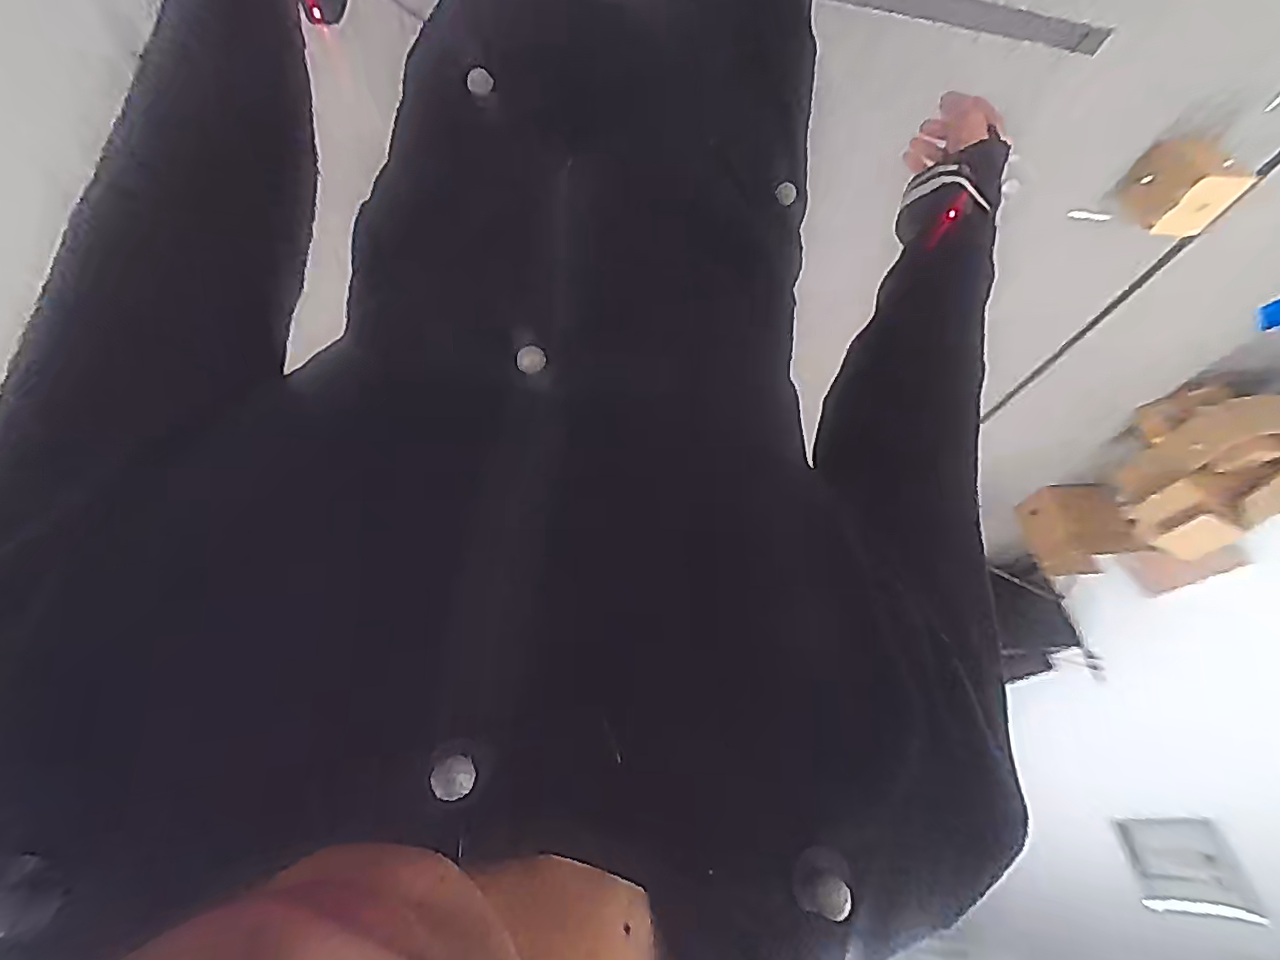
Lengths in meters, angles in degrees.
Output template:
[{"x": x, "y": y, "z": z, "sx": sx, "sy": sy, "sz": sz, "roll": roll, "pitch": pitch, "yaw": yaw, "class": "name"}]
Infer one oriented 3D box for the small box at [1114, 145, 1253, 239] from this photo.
[{"x": 1.481, "y": -0.792, "z": 1.486, "sx": 0.179, "sy": 0.176, "sz": 0.168, "roll": -1, "pitch": 149, "yaw": -8, "class": "small box"}]
